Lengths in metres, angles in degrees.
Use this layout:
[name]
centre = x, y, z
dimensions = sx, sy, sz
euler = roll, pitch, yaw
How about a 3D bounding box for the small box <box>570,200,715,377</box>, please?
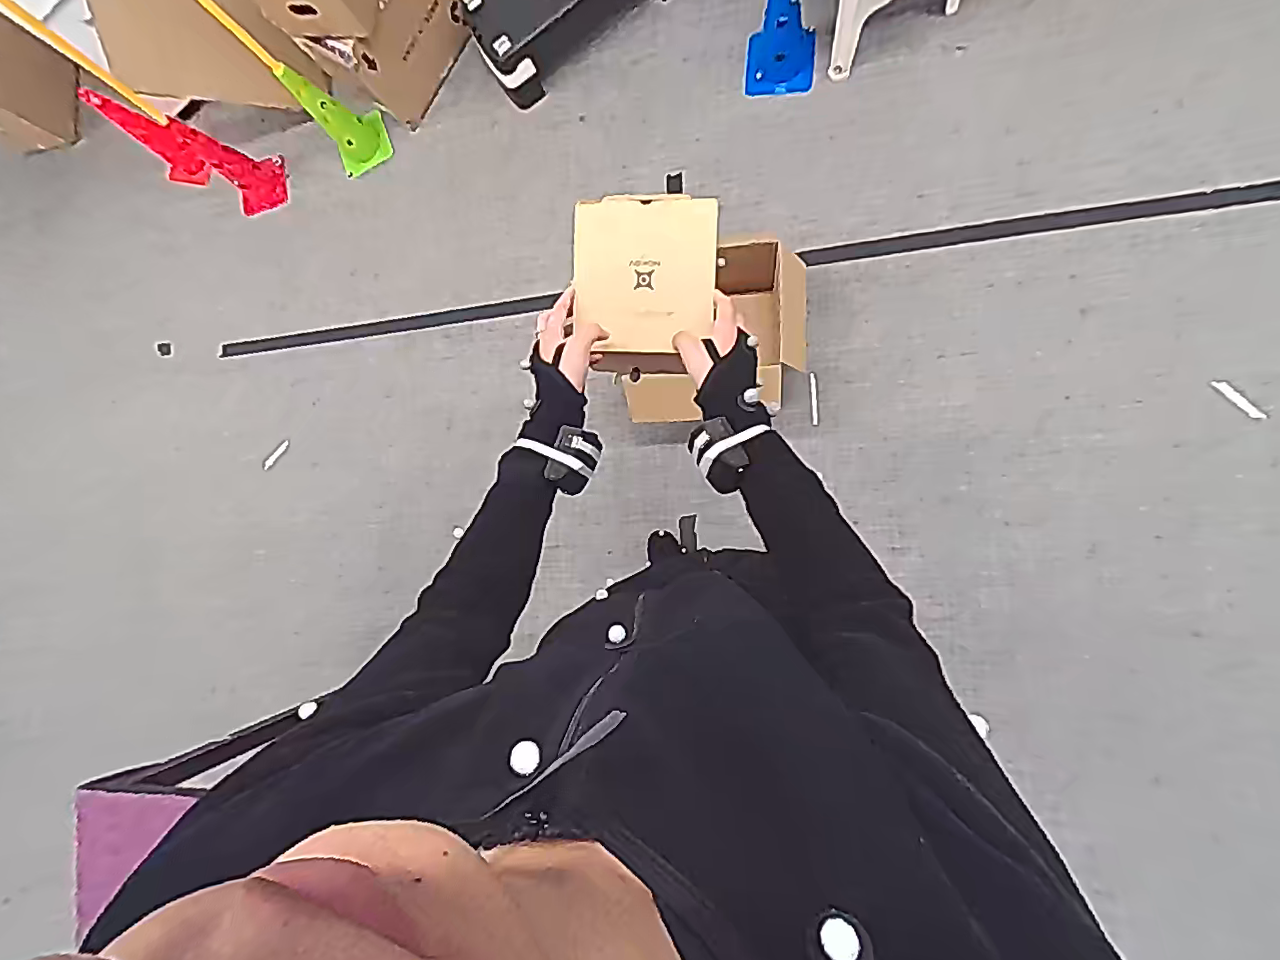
[small box]
centre = 0.007, -0.238, 0.705
dimensions = 0.168, 0.176, 0.179
euler = 2, 92, 5
